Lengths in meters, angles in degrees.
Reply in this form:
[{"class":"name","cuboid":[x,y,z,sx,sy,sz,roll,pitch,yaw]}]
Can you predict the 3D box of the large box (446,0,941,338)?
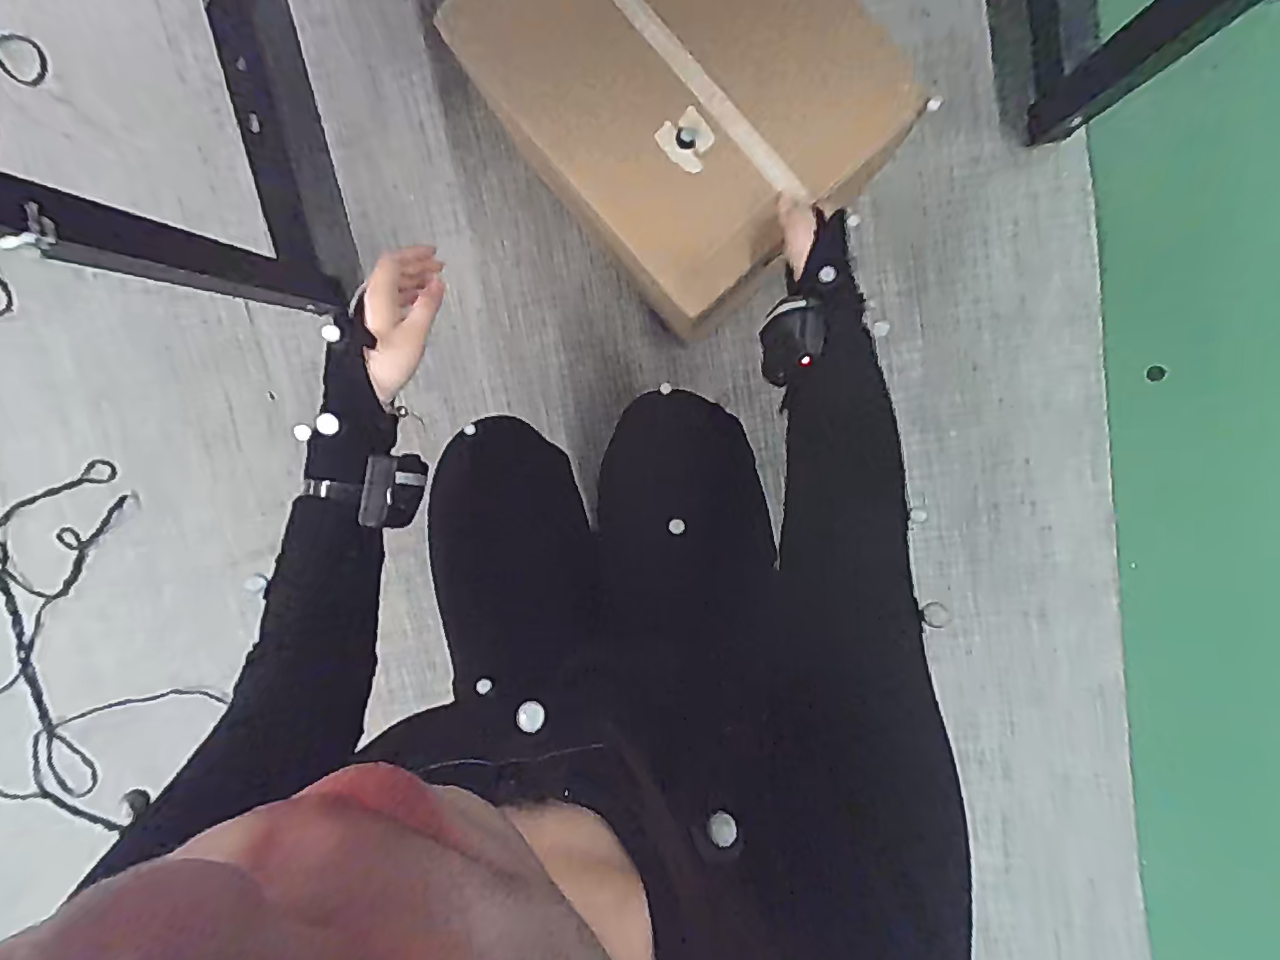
[{"class":"large box","cuboid":[0.056,-0.441,0.680,0.320,0.320,0.408,-44,94,10]}]
